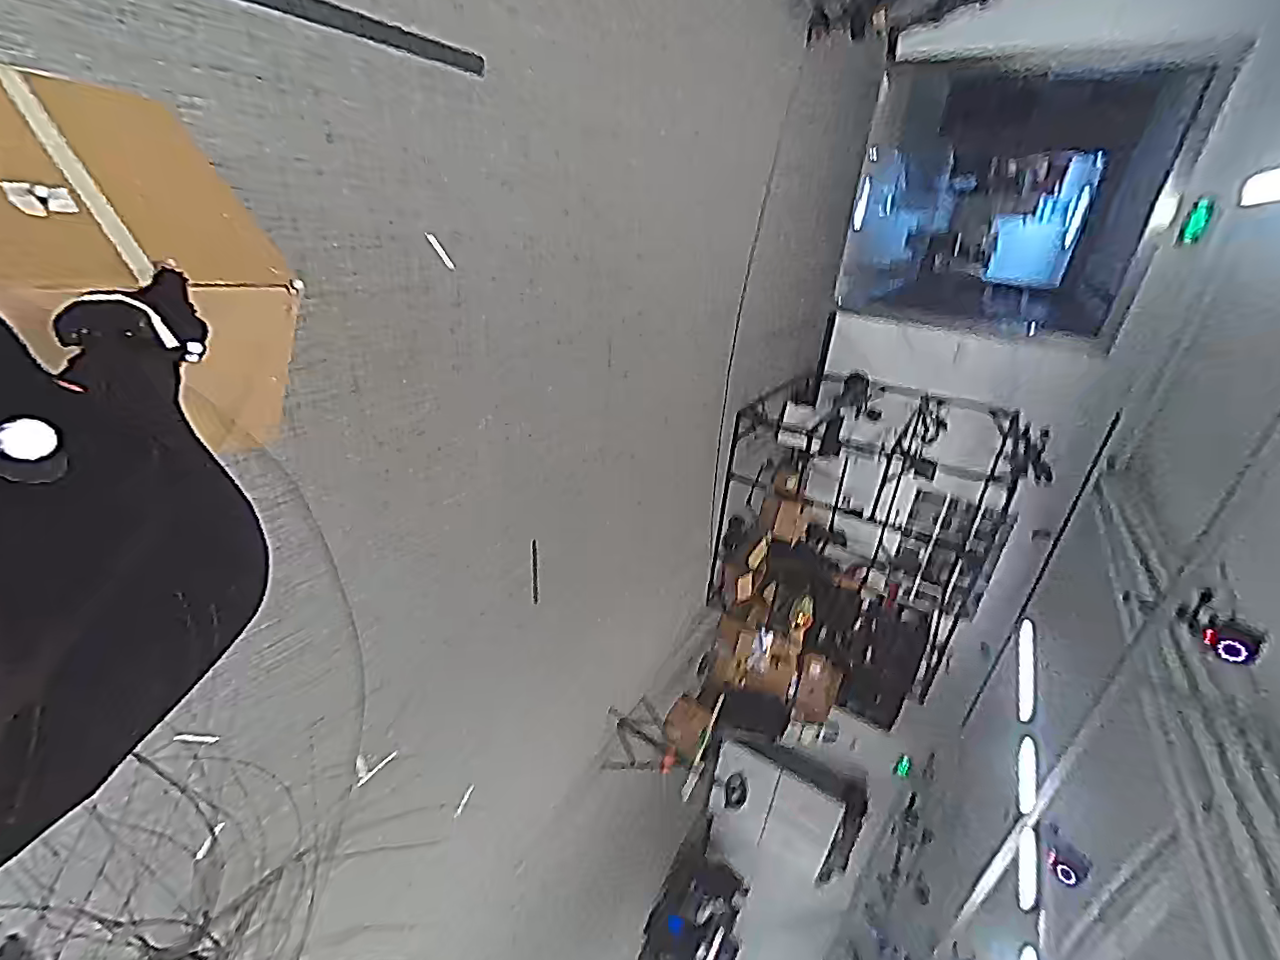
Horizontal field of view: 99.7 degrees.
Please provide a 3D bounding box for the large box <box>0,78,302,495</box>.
[{"bbox_3d":[-0.737,-0.257,0.724,0.320,0.408,0.320,-28,165,-49],"label":"large box"}]
